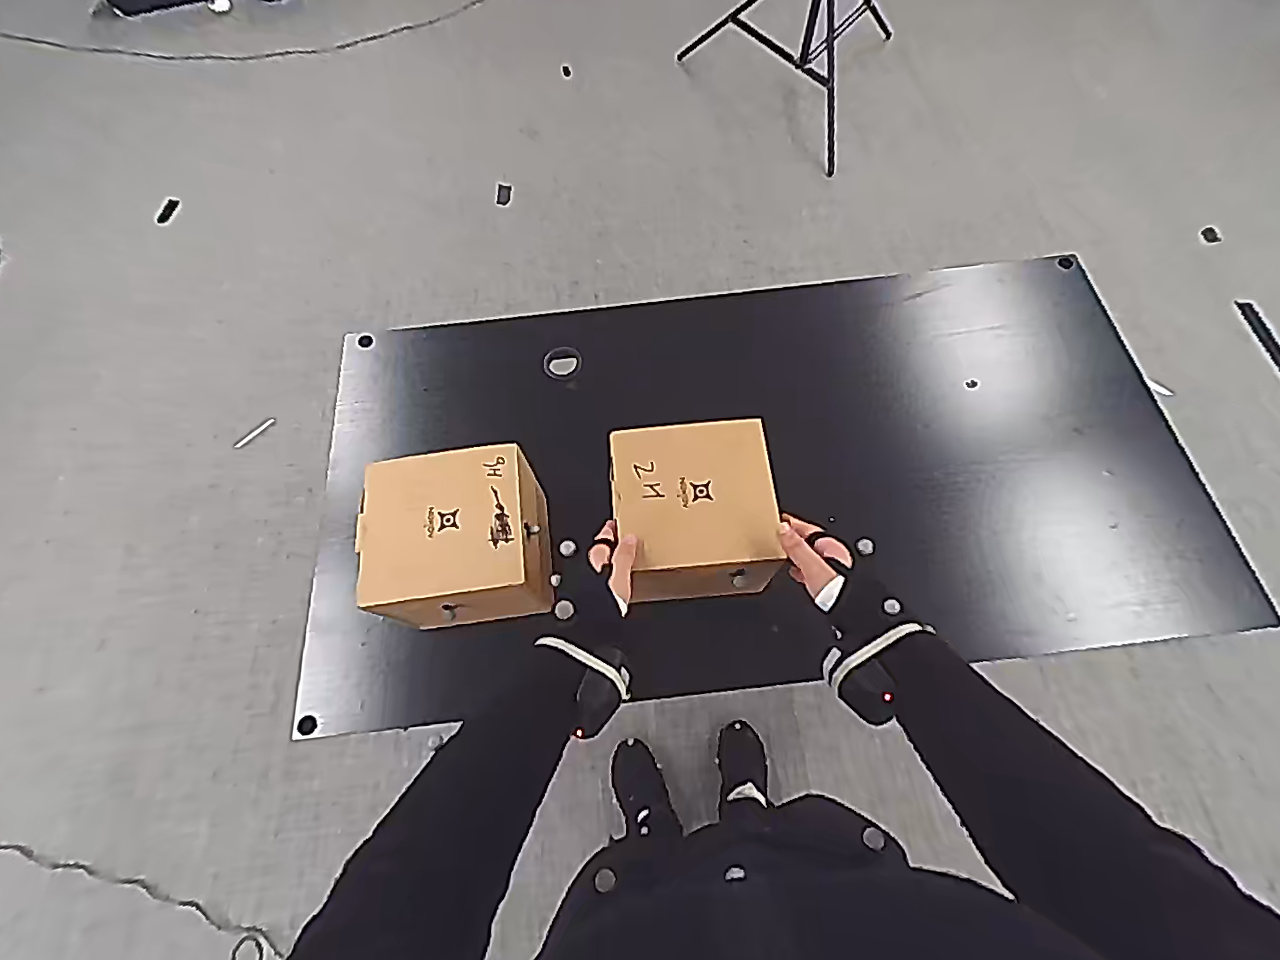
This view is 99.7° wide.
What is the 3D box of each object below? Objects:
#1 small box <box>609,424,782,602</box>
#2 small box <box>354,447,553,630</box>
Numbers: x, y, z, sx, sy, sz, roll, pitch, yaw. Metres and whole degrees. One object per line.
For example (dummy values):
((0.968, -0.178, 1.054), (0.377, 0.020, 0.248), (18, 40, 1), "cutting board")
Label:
((0.058, 0.048, 0.658), (0.179, 0.176, 0.168), (-5, 67, 1), "small box")
((-0.213, 0.080, 0.657), (0.179, 0.176, 0.168), (-8, 67, -1), "small box")
